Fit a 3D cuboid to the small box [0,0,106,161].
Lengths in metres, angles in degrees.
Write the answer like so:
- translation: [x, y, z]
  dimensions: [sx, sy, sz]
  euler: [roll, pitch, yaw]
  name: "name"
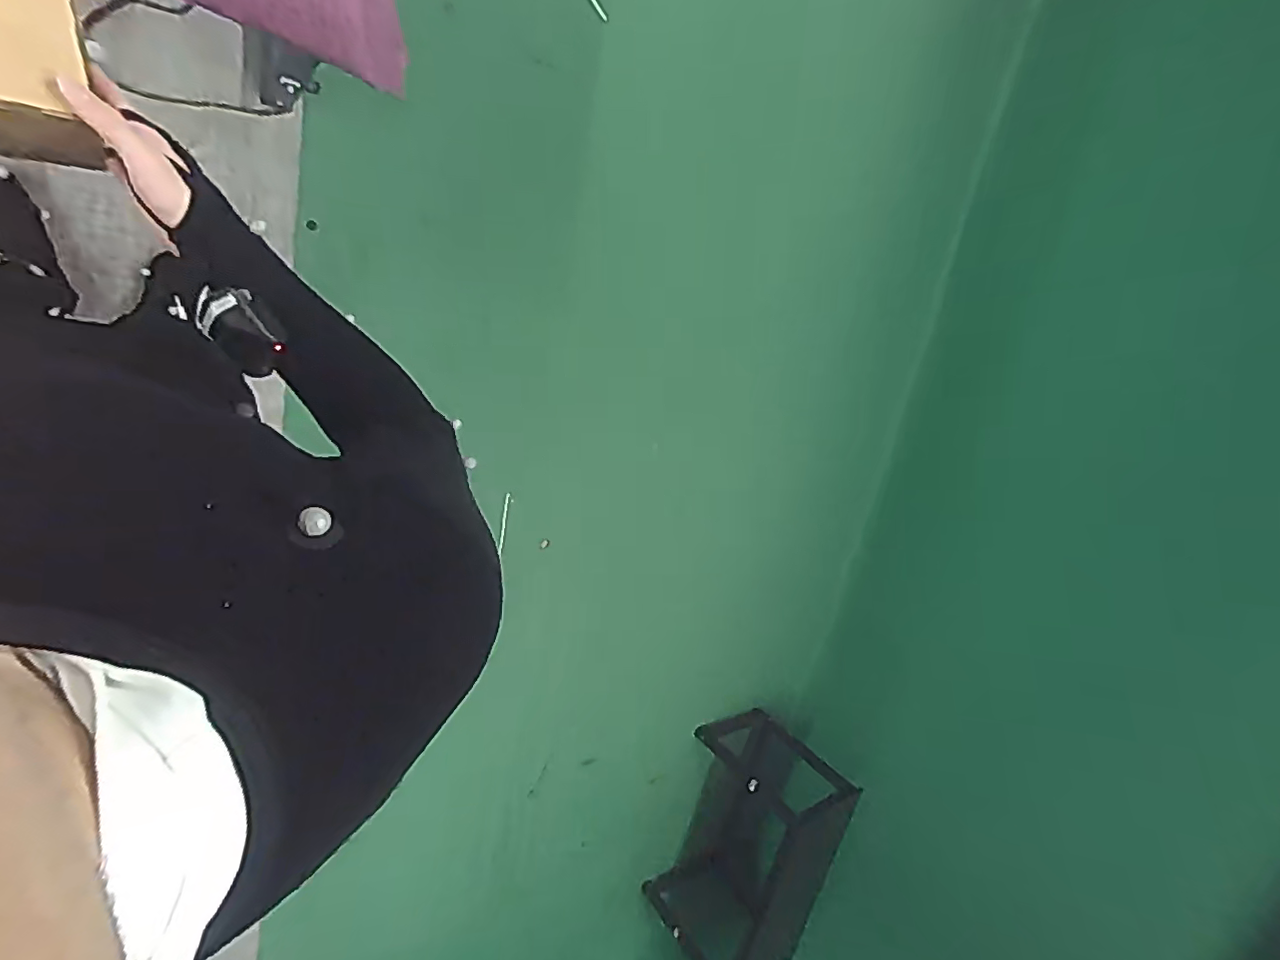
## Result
- translation: [-0.526, -0.357, 0.394]
  dimensions: [0.168, 0.176, 0.179]
  euler: [-12, 110, -38]
  name: "small box"
